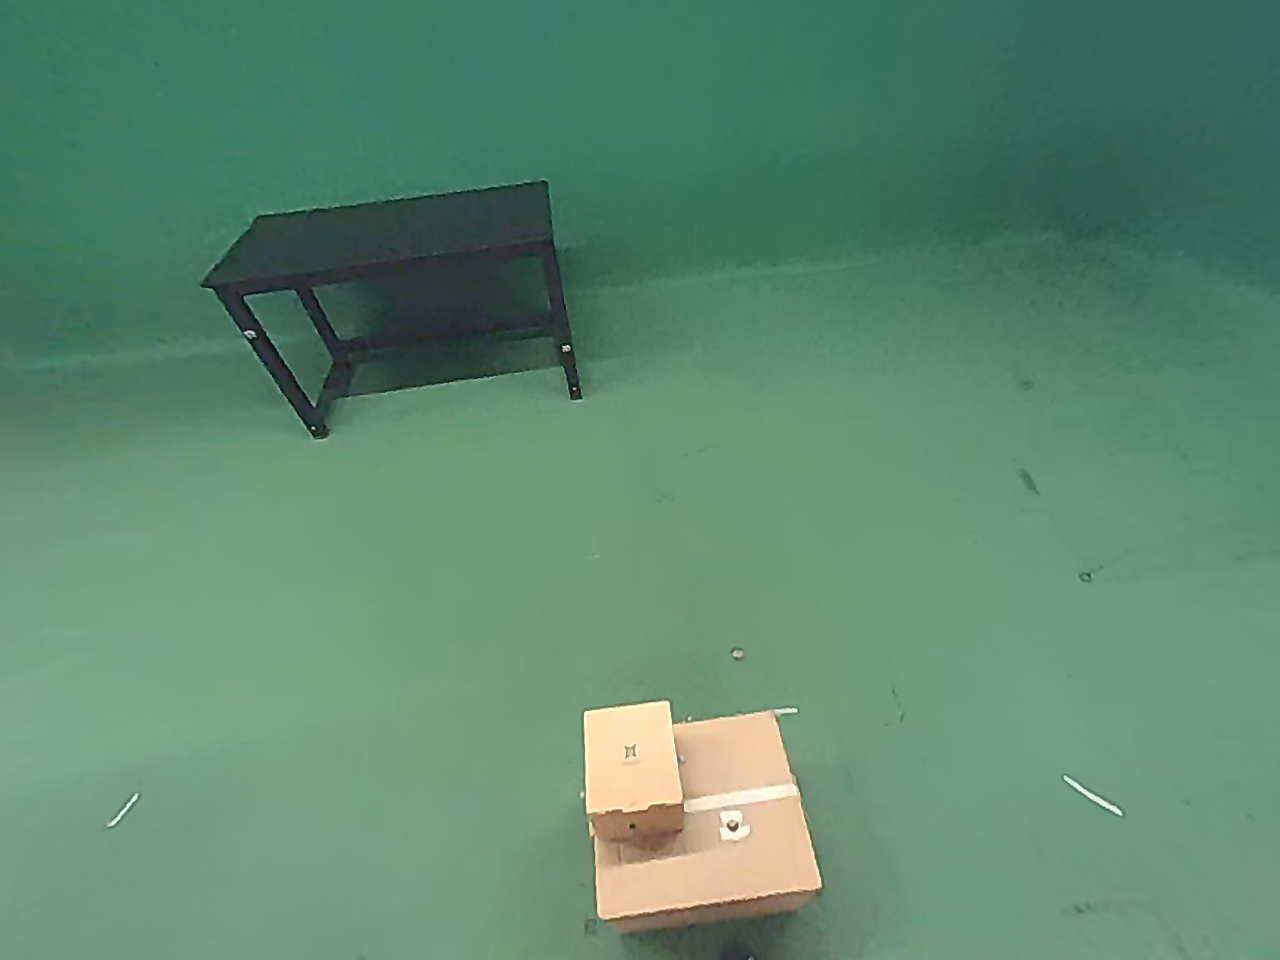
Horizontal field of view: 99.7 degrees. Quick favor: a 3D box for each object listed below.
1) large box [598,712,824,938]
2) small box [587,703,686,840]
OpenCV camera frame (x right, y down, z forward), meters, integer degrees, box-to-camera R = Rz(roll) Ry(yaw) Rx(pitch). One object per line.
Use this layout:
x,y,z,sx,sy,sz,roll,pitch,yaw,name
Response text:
0.122,0.735,1.151,0.408,0.320,0.320,-7,46,-2,large box
-0.008,0.544,1.011,0.168,0.176,0.179,-7,45,-1,small box
